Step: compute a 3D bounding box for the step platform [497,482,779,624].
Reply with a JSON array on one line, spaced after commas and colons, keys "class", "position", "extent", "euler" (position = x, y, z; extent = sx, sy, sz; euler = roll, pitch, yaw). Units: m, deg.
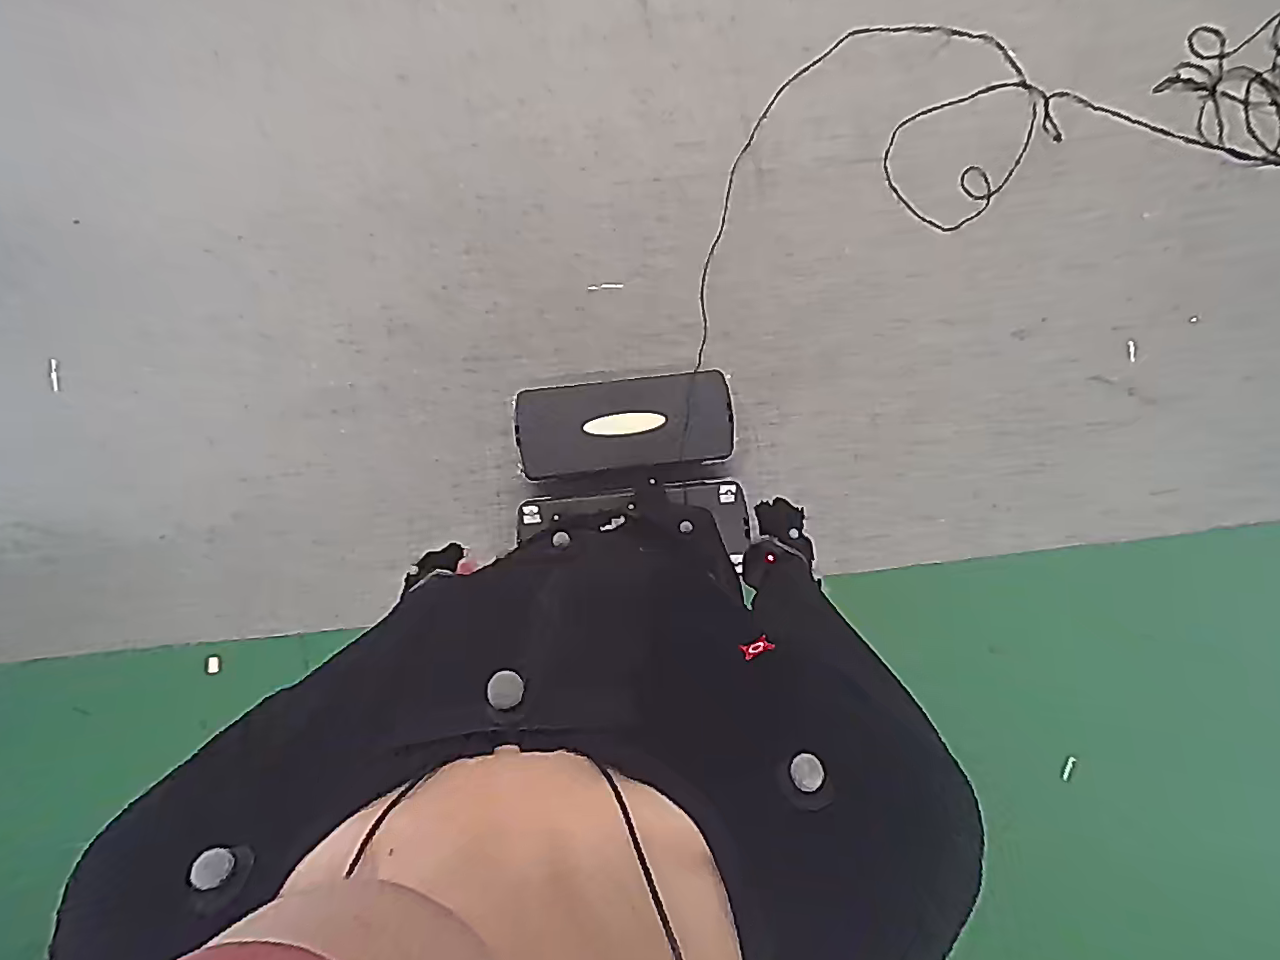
[{"class": "step platform", "position": [-0.006, 0.181, 1.400], "extent": [0.684, 0.204, 0.286], "euler": [-6, 88, -2]}]
